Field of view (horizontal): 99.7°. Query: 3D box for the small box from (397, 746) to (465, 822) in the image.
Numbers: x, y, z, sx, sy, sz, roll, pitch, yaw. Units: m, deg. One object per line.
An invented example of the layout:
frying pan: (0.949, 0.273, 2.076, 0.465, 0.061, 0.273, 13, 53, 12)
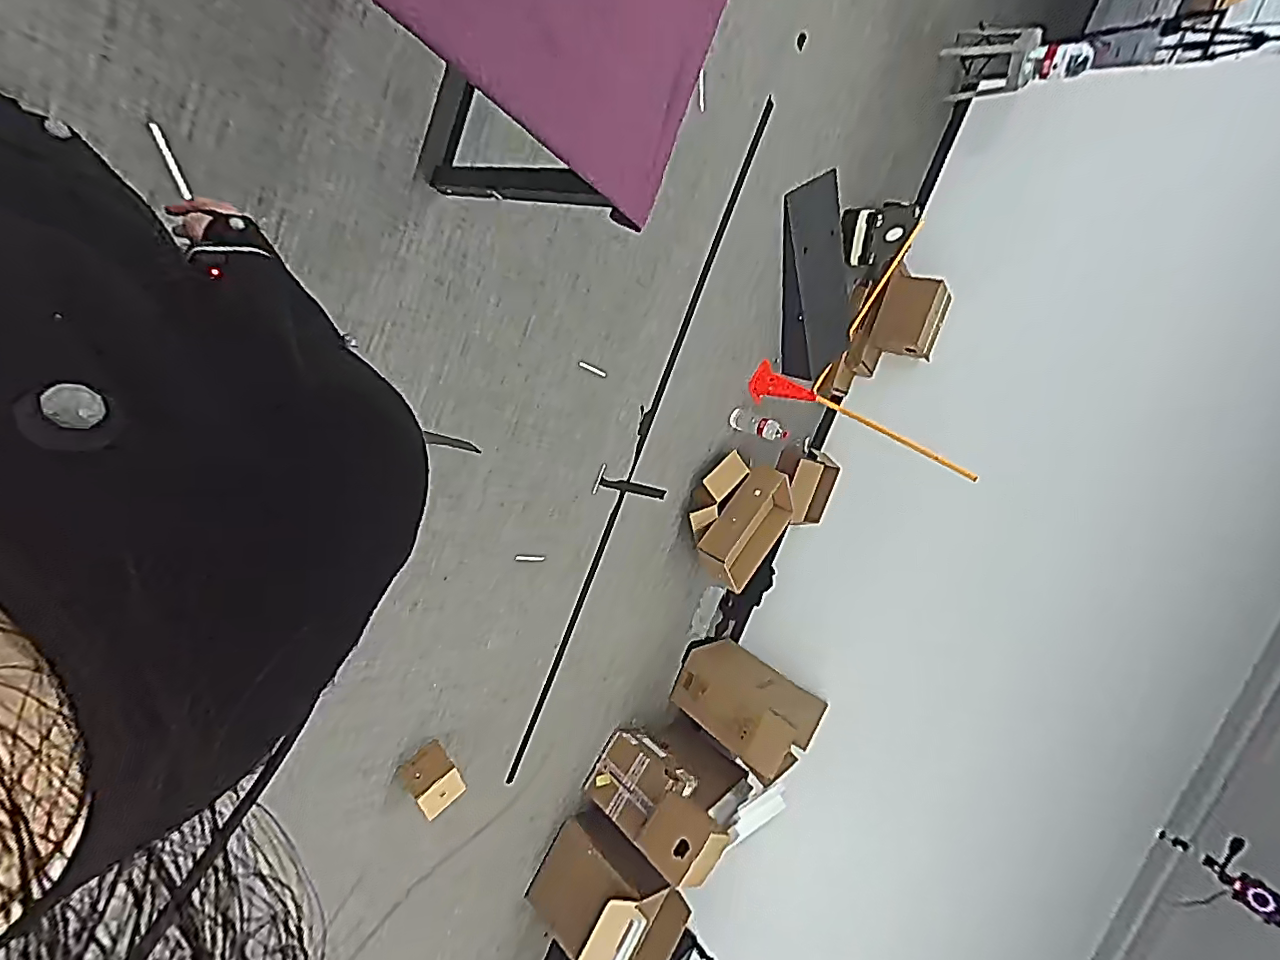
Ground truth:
small box: (-0.823, 1.183, 2.123, 0.168, 0.176, 0.179, -33, 135, -34)
